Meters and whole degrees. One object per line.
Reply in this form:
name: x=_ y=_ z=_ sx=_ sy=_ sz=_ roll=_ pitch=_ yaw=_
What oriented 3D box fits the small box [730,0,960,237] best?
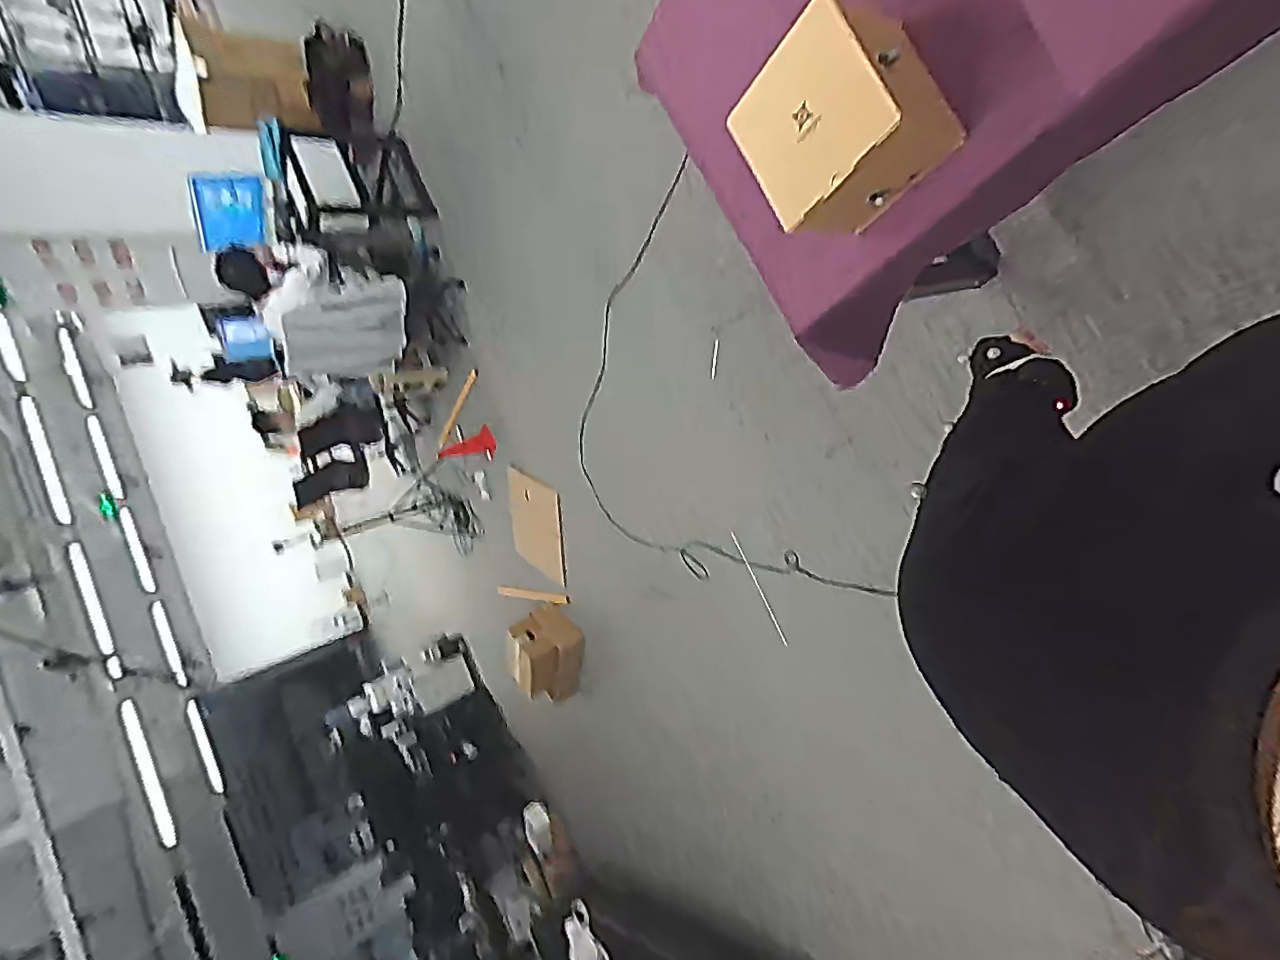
small box: x=0.252 y=-0.427 z=0.672 sx=0.168 sy=0.176 sz=0.179 roll=-36 pitch=78 yaw=52
